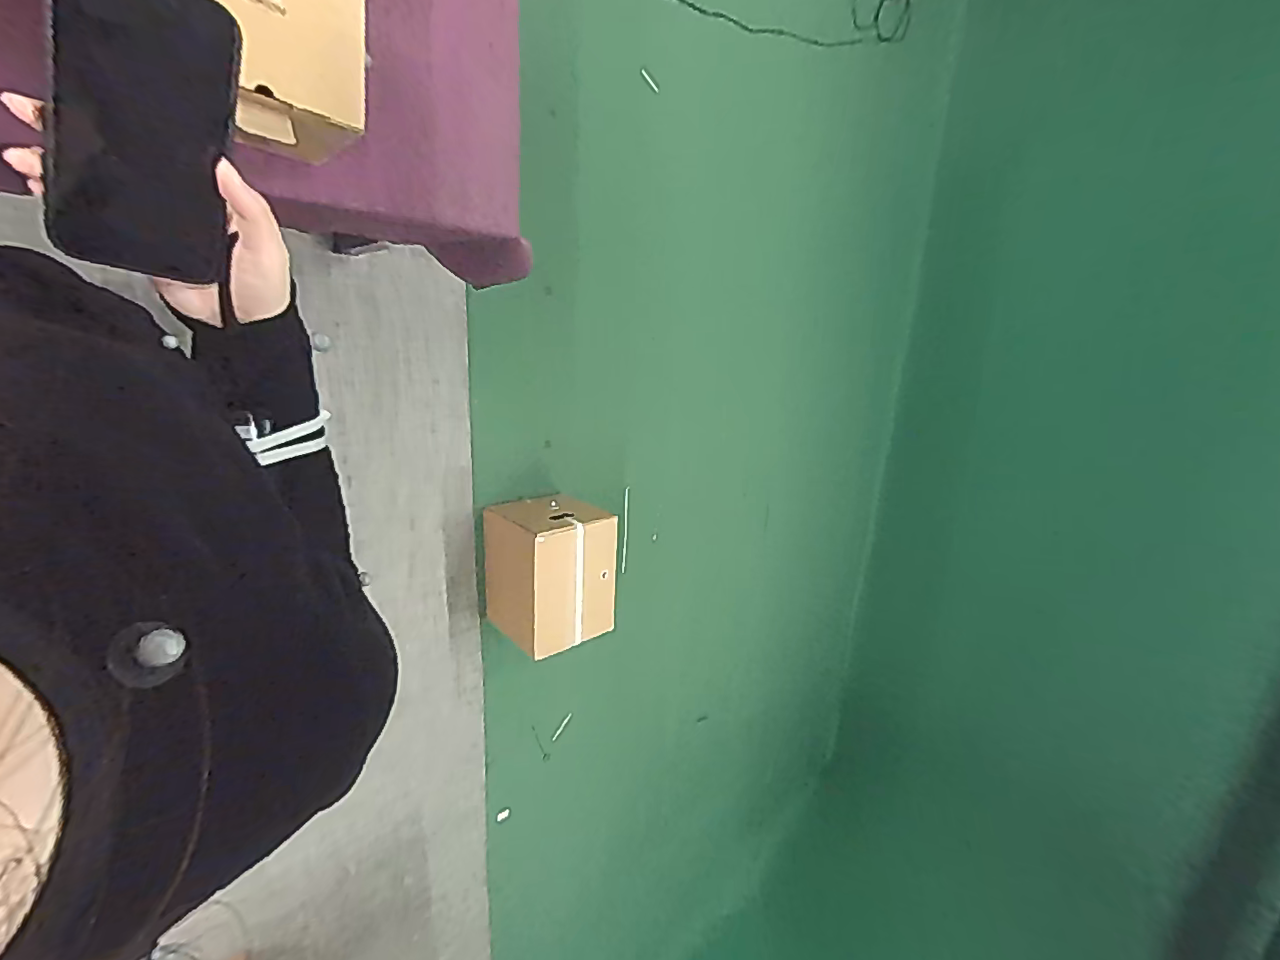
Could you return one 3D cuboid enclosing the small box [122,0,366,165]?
[{"bbox_3d":[-0.375,-0.429,0.512,0.168,0.176,0.179,-6,107,-43],"label":"small box"}]
